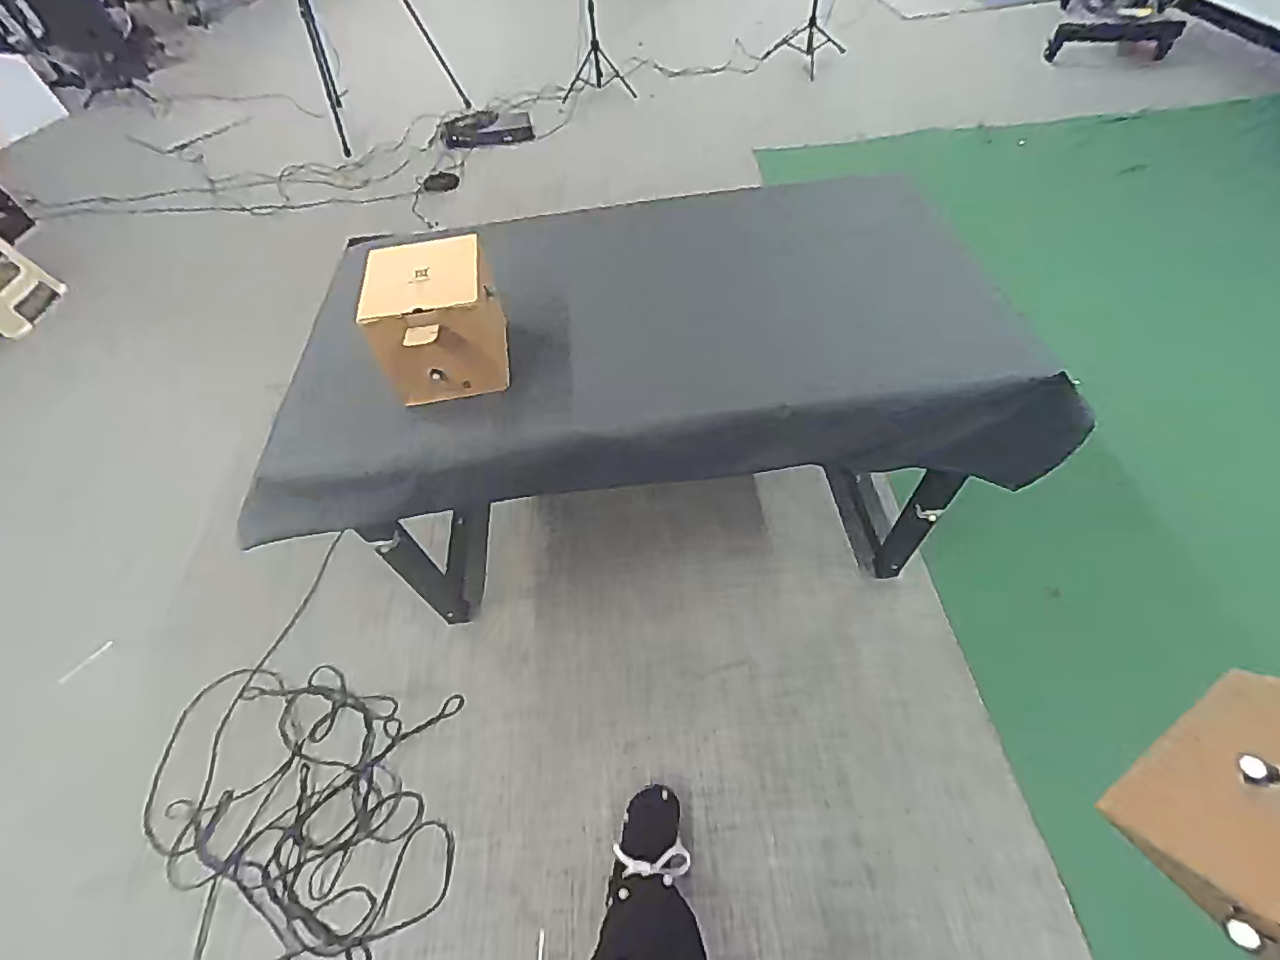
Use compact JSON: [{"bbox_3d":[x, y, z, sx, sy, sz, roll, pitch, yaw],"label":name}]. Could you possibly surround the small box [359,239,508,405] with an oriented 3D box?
[{"bbox_3d":[-0.308,-0.244,0.842,0.168,0.176,0.179,-10,55,-4],"label":"small box"}]
